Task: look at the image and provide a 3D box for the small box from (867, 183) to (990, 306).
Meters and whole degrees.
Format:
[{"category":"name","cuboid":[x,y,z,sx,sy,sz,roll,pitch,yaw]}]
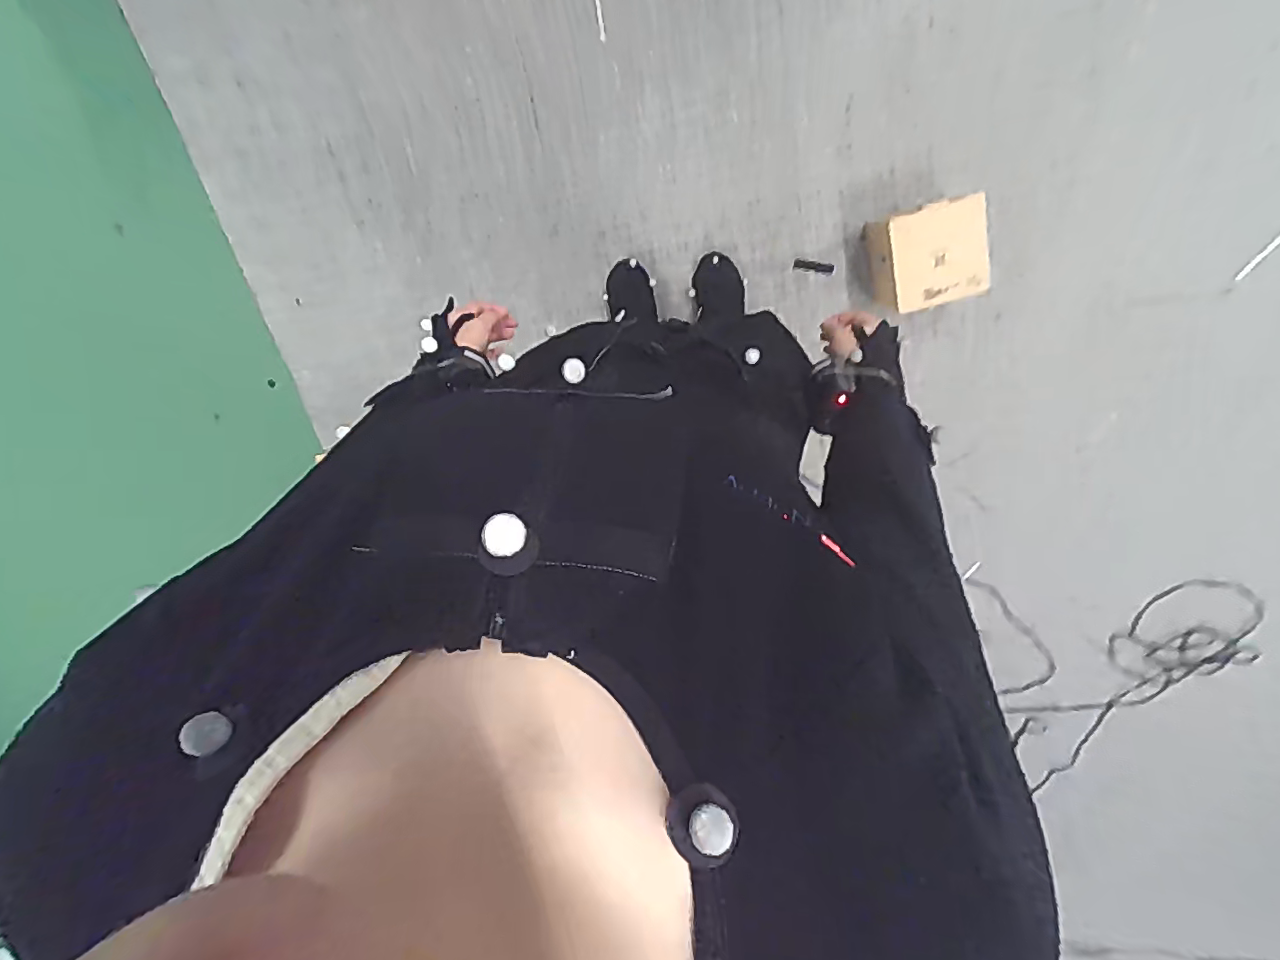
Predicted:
[{"category":"small box","cuboid":[0.562,-0.459,1.070,0.168,0.176,0.179,-13,111,13]}]
